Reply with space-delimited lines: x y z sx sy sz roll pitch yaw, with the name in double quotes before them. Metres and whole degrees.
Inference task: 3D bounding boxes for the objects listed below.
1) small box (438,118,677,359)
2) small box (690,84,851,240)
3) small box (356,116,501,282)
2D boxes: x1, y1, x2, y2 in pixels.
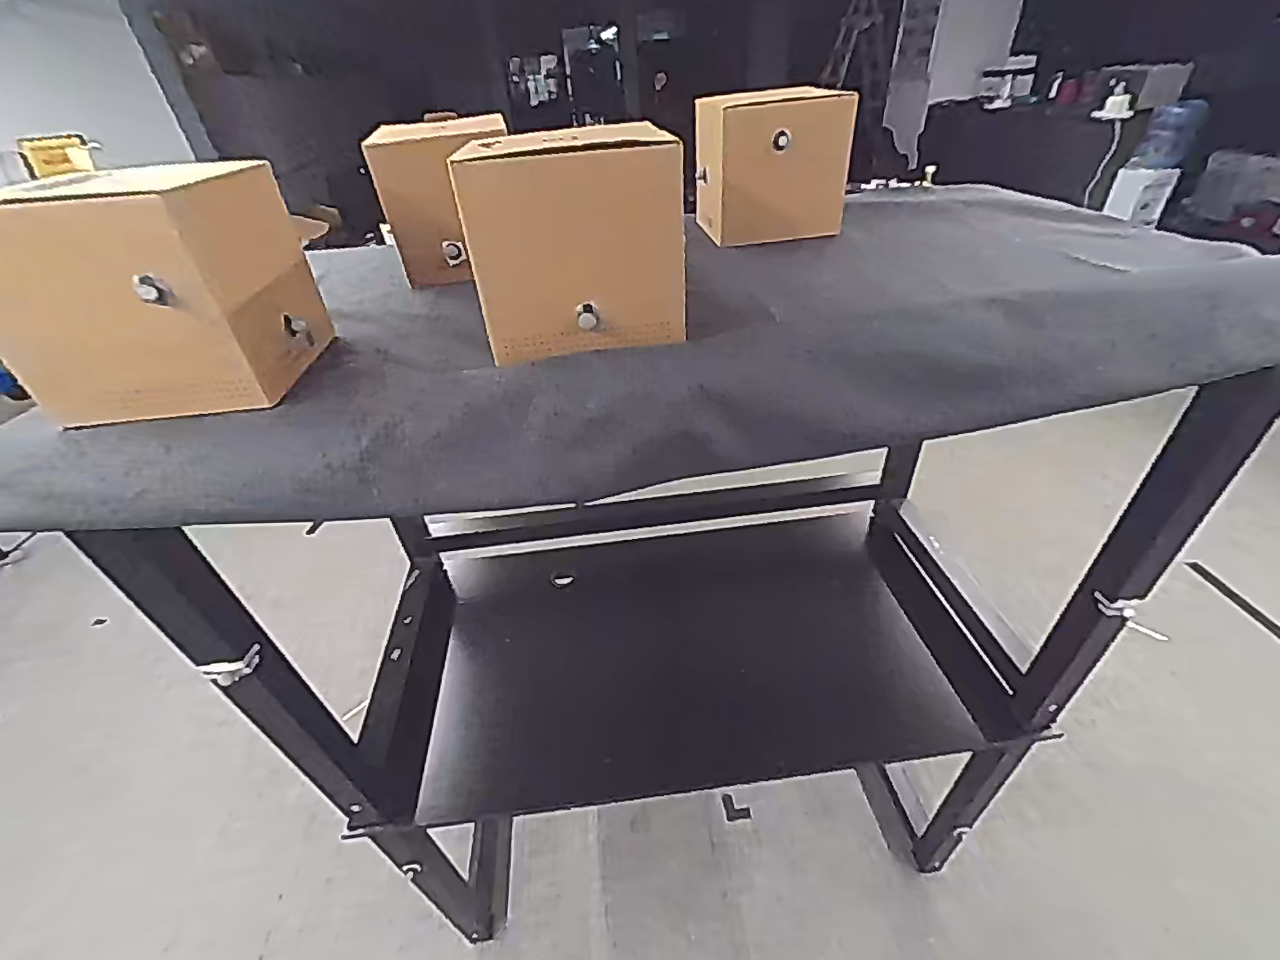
"small box" -0.064 -0.226 0.502 0.179 0.176 0.168 -7 36 -4
"small box" 0.174 -0.451 0.769 0.179 0.176 0.168 -7 38 -3
"small box" -0.252 -0.380 0.729 0.168 0.176 0.179 -12 38 -8
